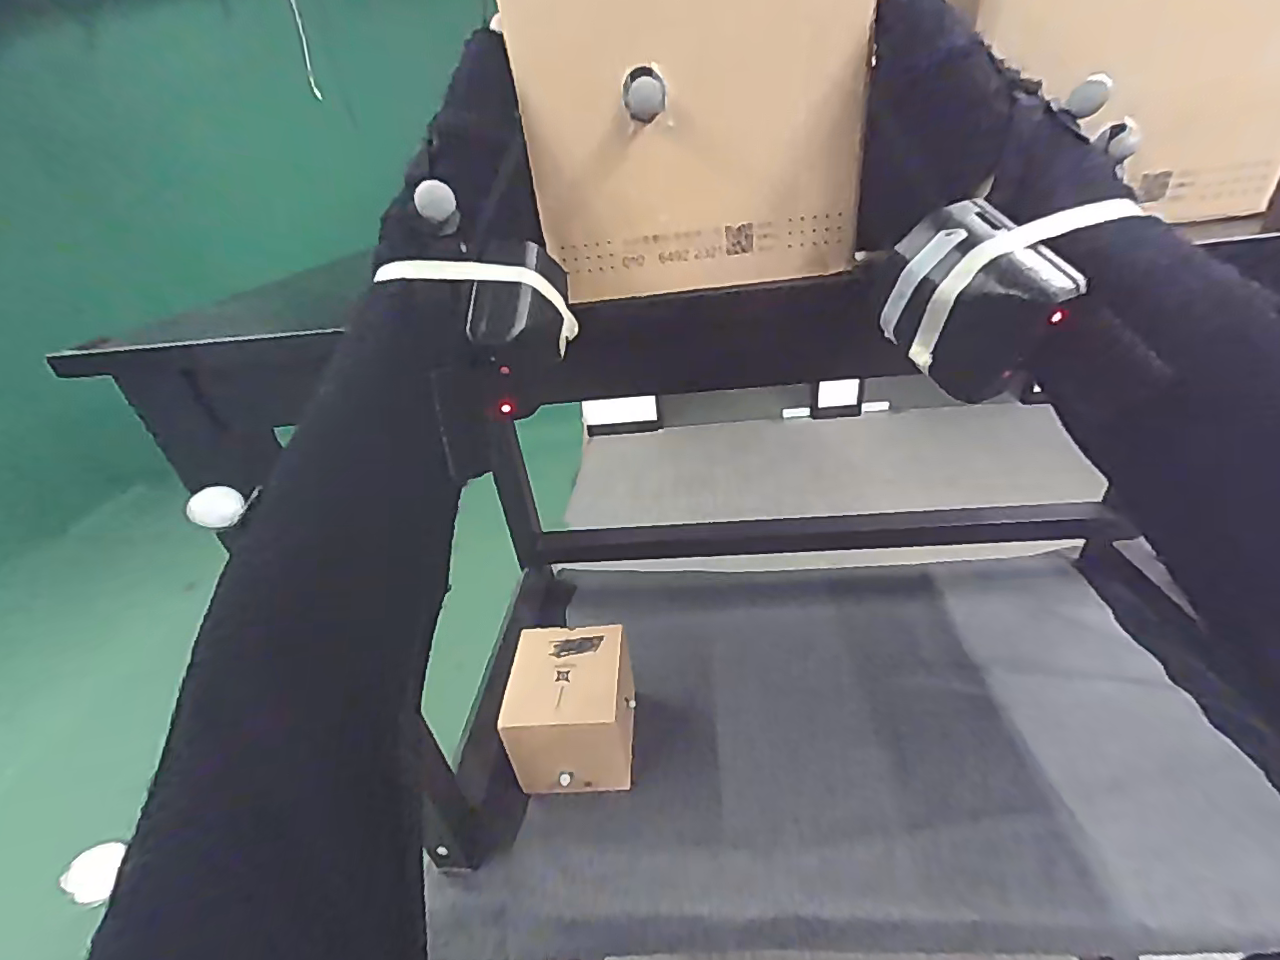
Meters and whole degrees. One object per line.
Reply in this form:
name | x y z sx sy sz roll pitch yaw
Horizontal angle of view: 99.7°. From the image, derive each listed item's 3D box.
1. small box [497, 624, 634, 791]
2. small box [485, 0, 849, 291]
small box | -0.102 0.347 0.835 0.168 0.176 0.179 -5 31 5
small box | 0.021 -0.220 0.329 0.168 0.176 0.179 -6 30 4
